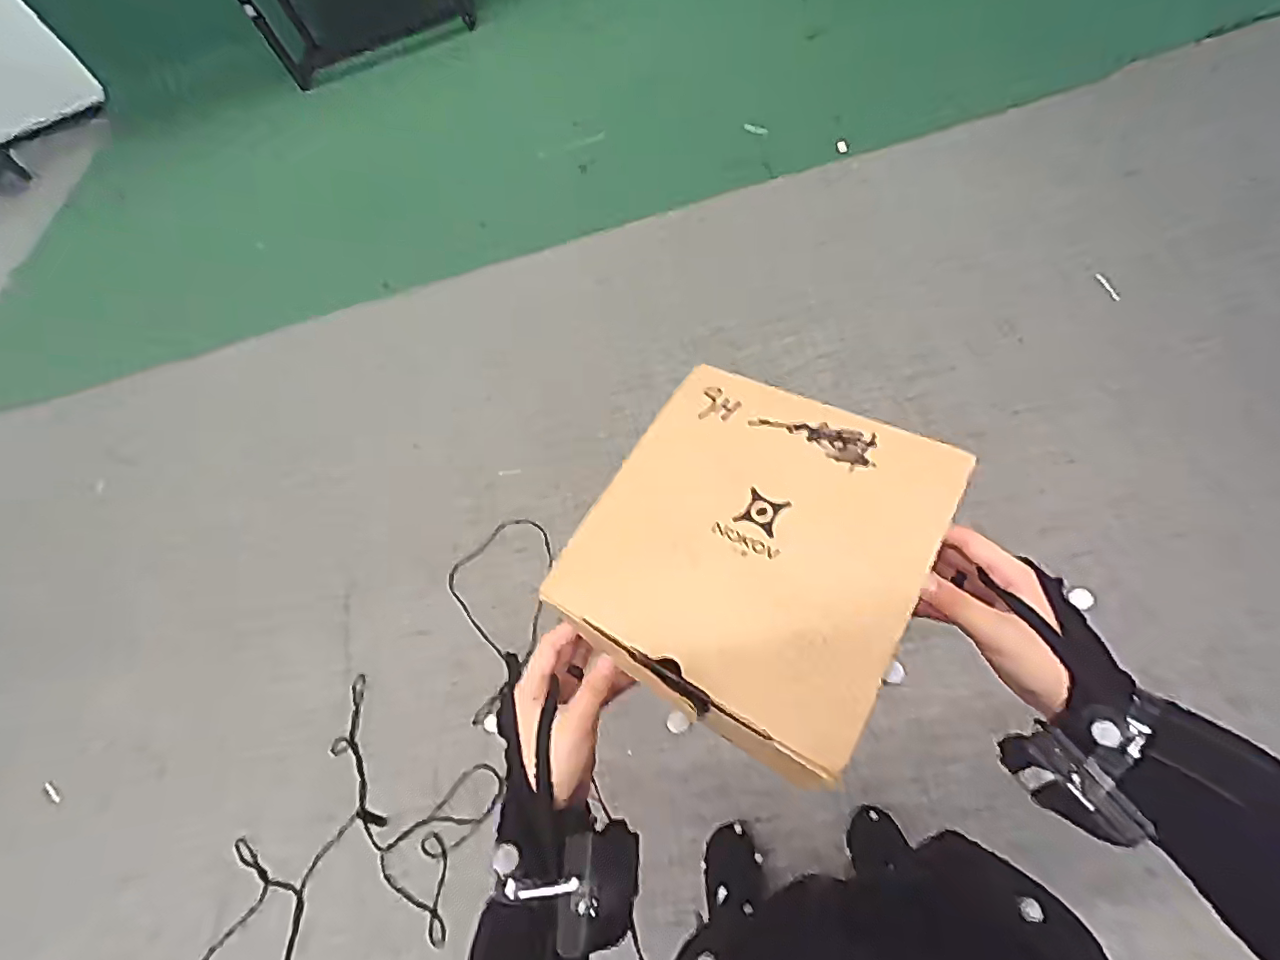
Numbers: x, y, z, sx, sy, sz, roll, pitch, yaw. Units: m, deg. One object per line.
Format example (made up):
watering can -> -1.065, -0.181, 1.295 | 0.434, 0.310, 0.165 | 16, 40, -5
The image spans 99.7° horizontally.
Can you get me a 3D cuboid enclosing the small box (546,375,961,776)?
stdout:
small box -> 0.075, 0.068, 0.357 | 0.168, 0.176, 0.179 | 25, 69, 25
